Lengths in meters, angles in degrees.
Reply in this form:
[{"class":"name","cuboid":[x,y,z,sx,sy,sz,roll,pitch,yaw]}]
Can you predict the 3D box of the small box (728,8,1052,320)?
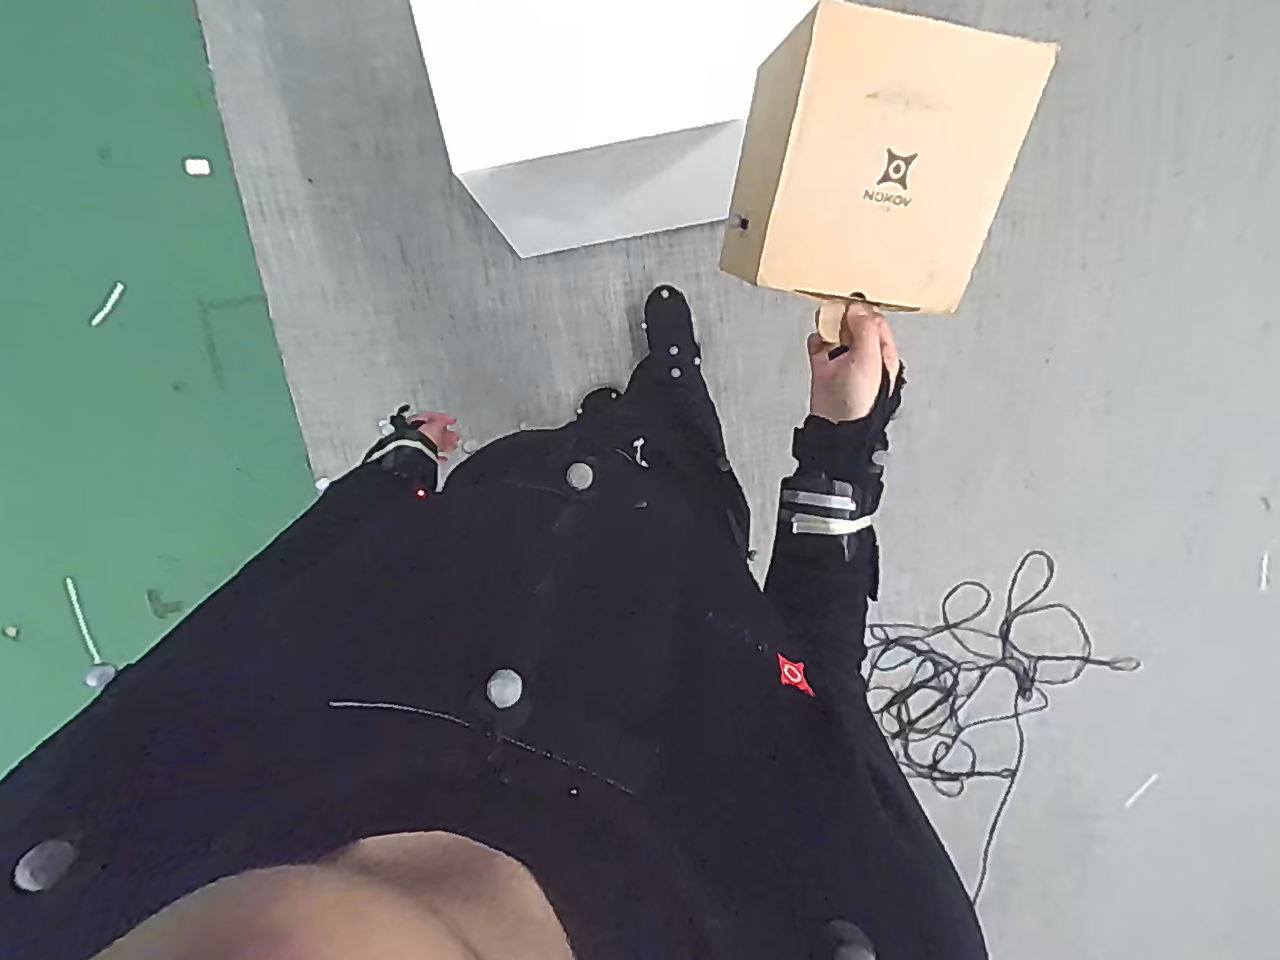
[{"class":"small box","cuboid":[0.179,-0.247,0.457,0.168,0.176,0.179,6,115,-6]}]
